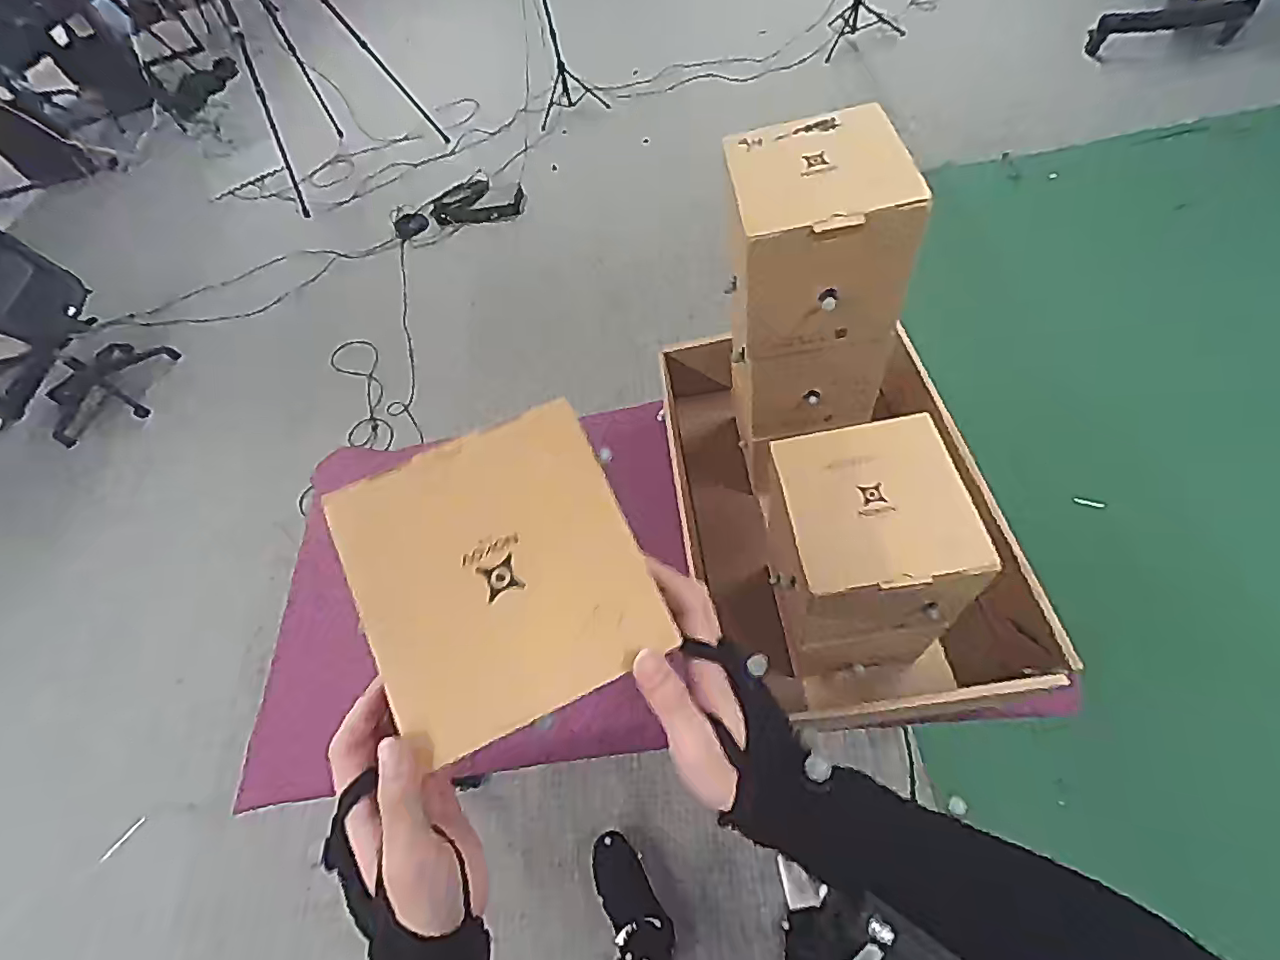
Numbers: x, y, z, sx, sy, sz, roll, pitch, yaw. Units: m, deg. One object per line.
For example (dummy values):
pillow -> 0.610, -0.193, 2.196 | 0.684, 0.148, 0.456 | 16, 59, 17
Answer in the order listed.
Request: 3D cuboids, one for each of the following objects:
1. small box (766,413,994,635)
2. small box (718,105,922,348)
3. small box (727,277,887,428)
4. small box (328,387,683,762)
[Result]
small box -> 0.236, 0.058, 0.585 | 0.168, 0.176, 0.179 | -10, 56, 7
small box -> 0.184, -0.266, 0.600 | 0.168, 0.176, 0.179 | -8, 59, 7
small box -> 0.216, -0.185, 0.739 | 0.168, 0.176, 0.179 | -8, 59, 7
small box -> -0.083, 0.066, 0.397 | 0.168, 0.176, 0.179 | -24, 77, -8
